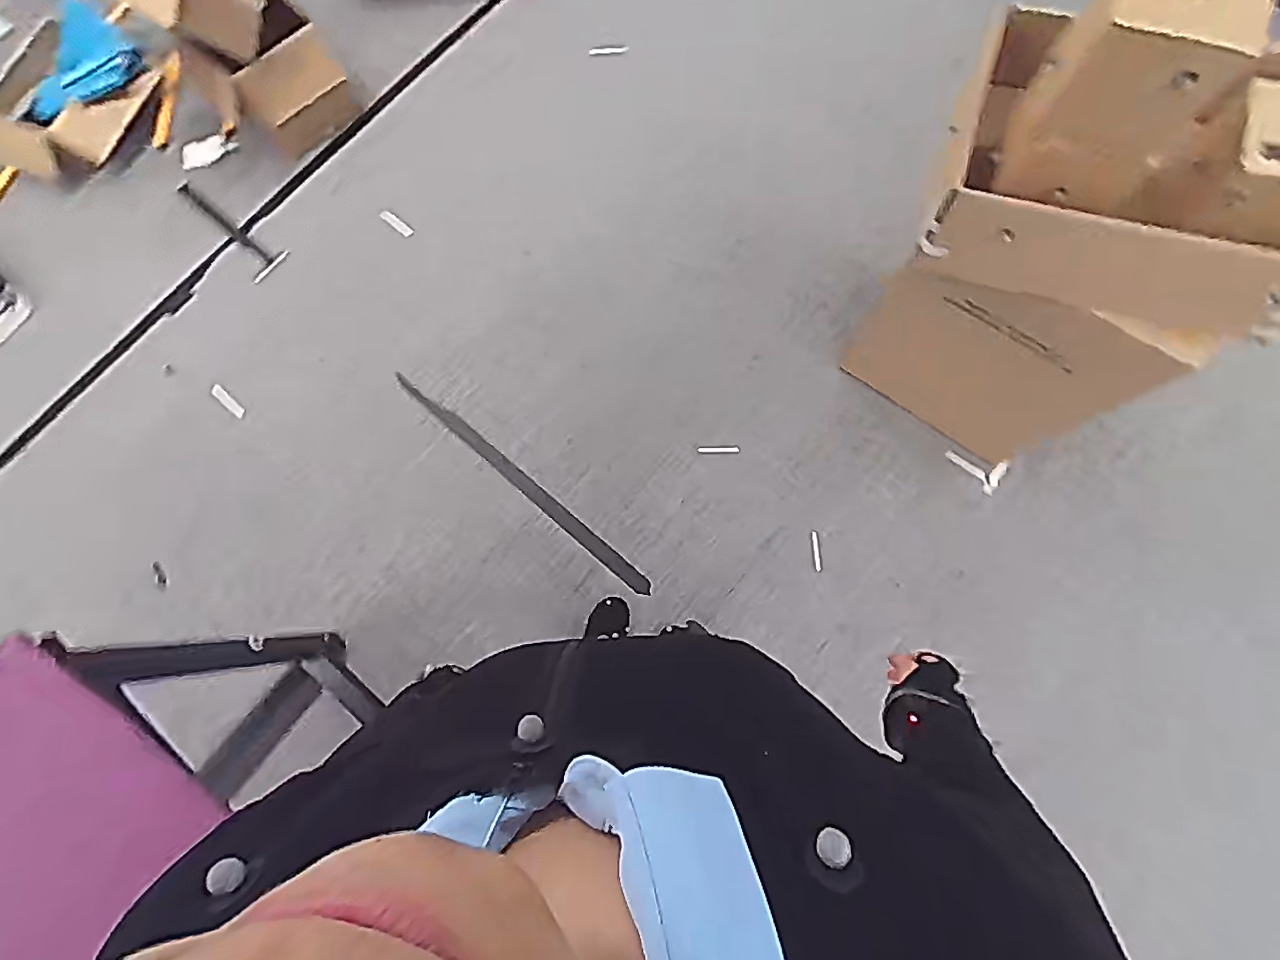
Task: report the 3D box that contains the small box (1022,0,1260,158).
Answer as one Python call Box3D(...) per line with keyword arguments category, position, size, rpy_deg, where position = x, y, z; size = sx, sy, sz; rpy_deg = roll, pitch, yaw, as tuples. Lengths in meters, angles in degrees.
Box3D(category="small box", position=(0.690, -0.595, 0.758), size=(0.179, 0.176, 0.168), rpy_deg=(21, 79, 9))
